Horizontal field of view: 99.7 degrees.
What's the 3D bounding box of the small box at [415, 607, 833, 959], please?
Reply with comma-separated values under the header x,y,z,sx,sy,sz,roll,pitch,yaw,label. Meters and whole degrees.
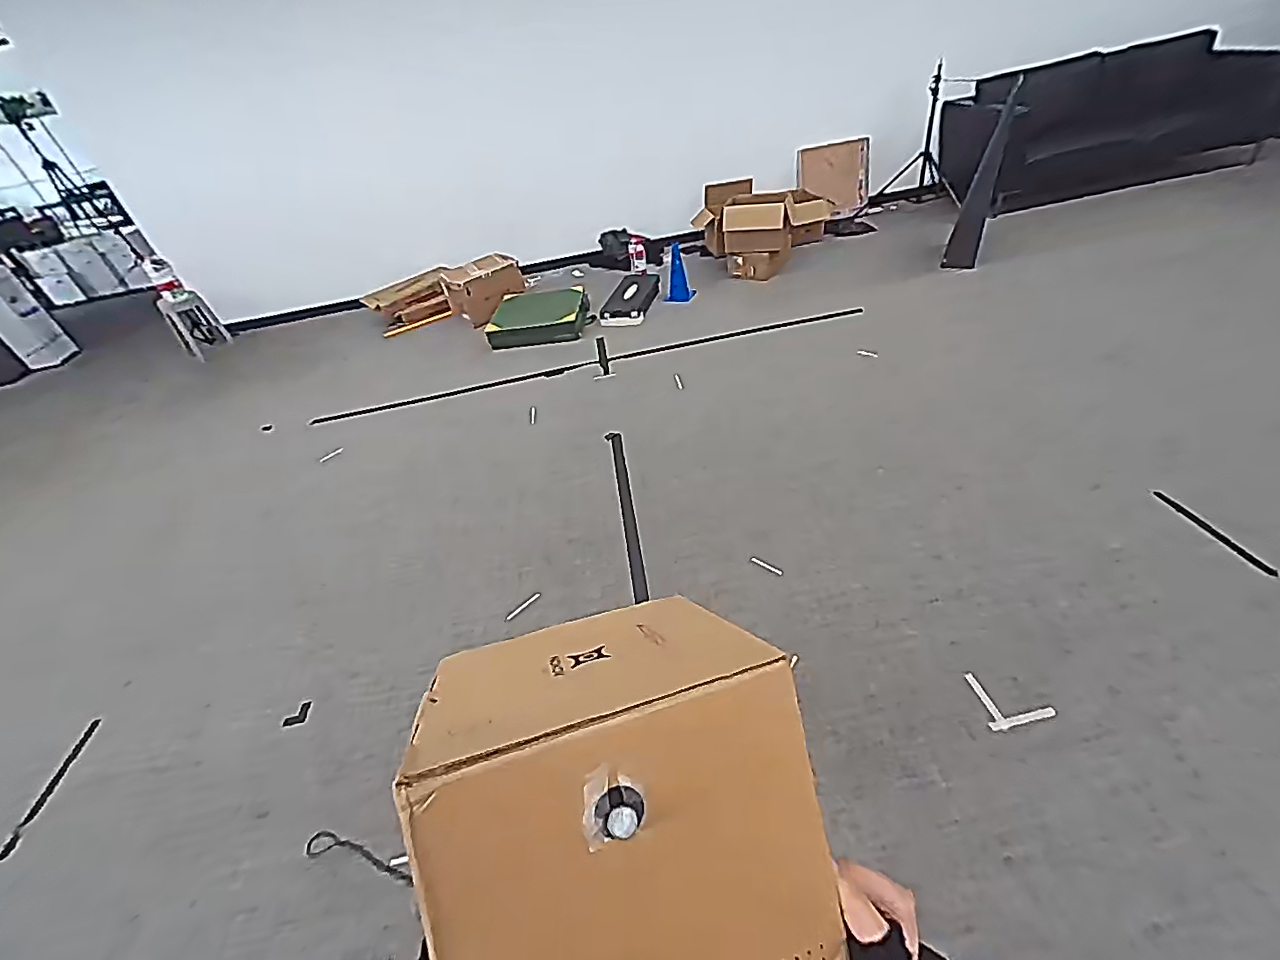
x,y,z,sx,sy,sz,roll,pitch,yaw,label
-0.014,0.192,0.323,0.179,0.176,0.168,-12,1,-14,small box
